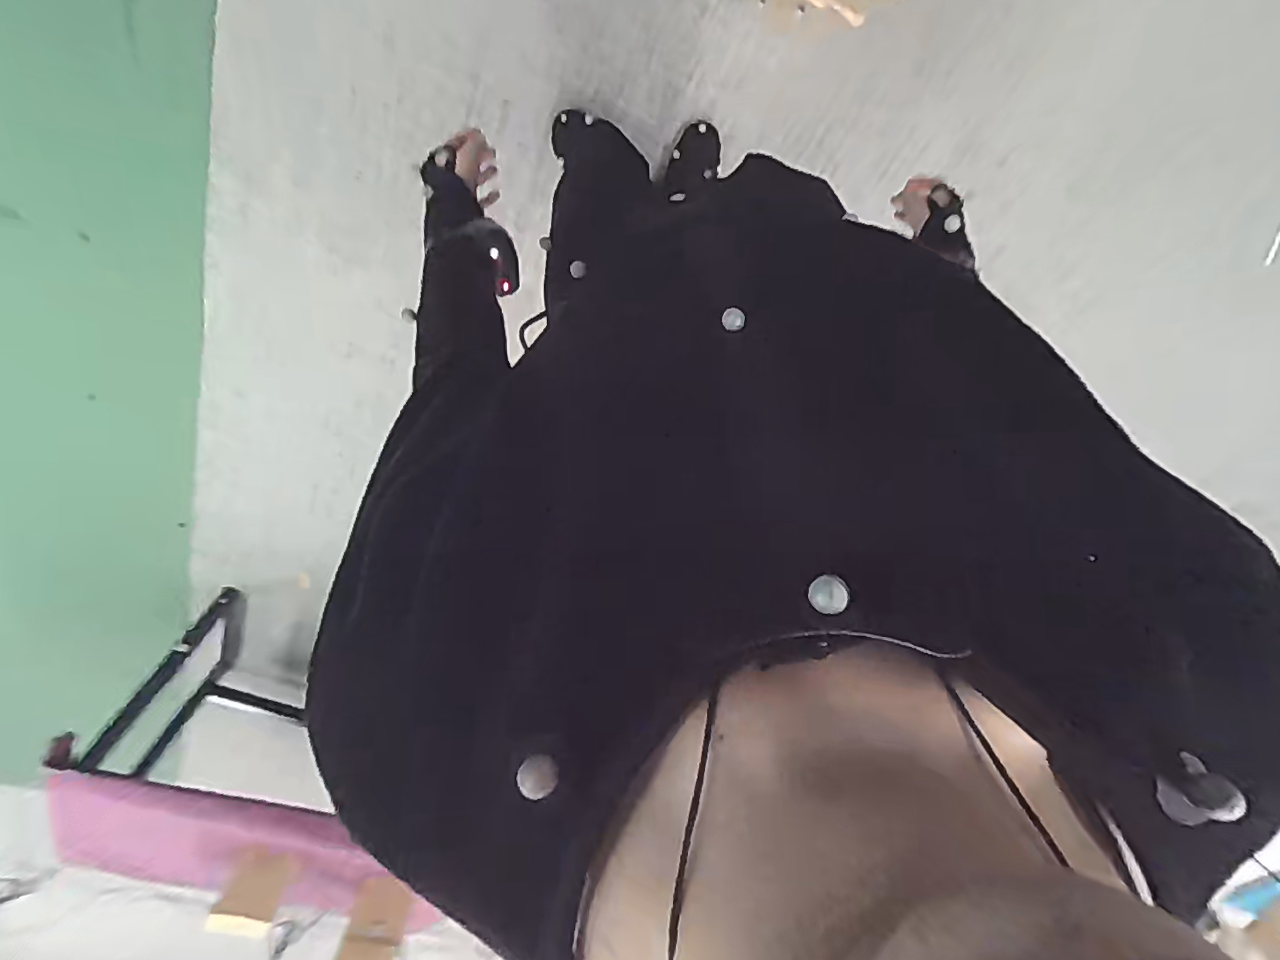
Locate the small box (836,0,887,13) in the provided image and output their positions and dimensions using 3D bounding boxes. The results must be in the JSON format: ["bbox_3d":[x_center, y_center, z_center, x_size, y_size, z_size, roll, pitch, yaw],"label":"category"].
[{"bbox_3d":[0.293,-0.738,0.685,0.179,0.176,0.168,23,122,-14],"label":"small box"}]

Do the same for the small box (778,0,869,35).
[{"bbox_3d":[0.301,-0.824,0.826,0.168,0.176,0.179,22,123,-14],"label":"small box"}]

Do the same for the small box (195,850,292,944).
[{"bbox_3d":[-1.177,1.242,1.612,0.168,0.176,0.179,27,121,-16],"label":"small box"}]

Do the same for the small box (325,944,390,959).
[{"bbox_3d":[-0.860,1.493,1.581,0.179,0.176,0.168,19,122,-12],"label":"small box"}]

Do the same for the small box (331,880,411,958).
[{"bbox_3d":[-0.854,1.407,1.718,0.179,0.176,0.168,21,122,-12],"label":"small box"}]
